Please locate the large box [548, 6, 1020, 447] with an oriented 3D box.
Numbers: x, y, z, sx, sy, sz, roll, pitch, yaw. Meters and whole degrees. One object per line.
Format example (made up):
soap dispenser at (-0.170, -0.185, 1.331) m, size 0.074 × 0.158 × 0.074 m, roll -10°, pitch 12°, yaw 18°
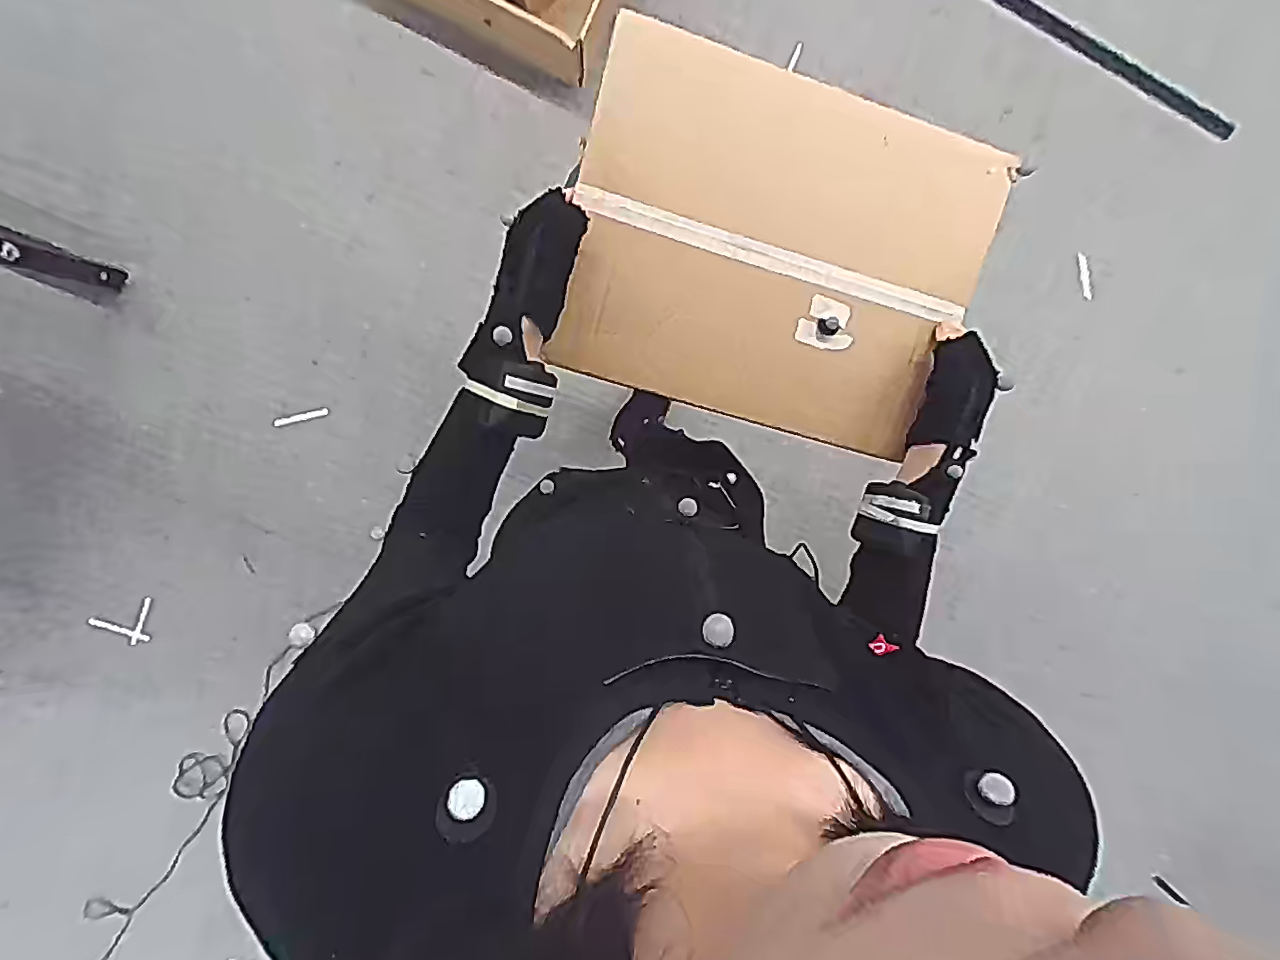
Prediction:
large box at (0.123, -0.253, 0.662) m, size 0.408 × 0.320 × 0.320 m, roll 14°, pitch 102°, yaw -8°
